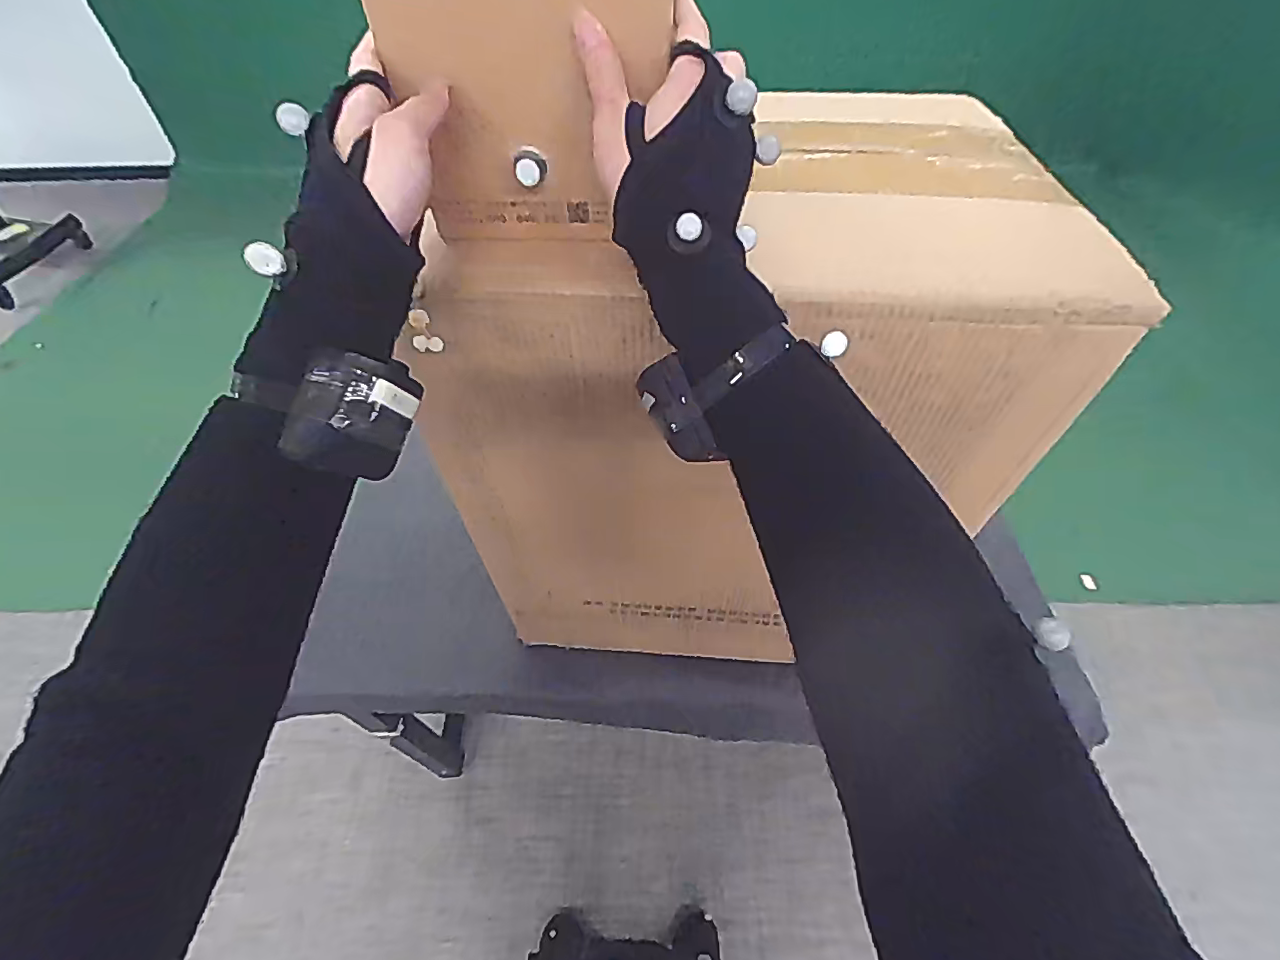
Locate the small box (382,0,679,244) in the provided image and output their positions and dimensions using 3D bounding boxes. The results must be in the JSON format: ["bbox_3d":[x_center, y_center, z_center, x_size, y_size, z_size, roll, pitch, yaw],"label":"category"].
[{"bbox_3d":[-0.059,-0.292,0.378,0.168,0.176,0.179,3,55,3],"label":"small box"}]
